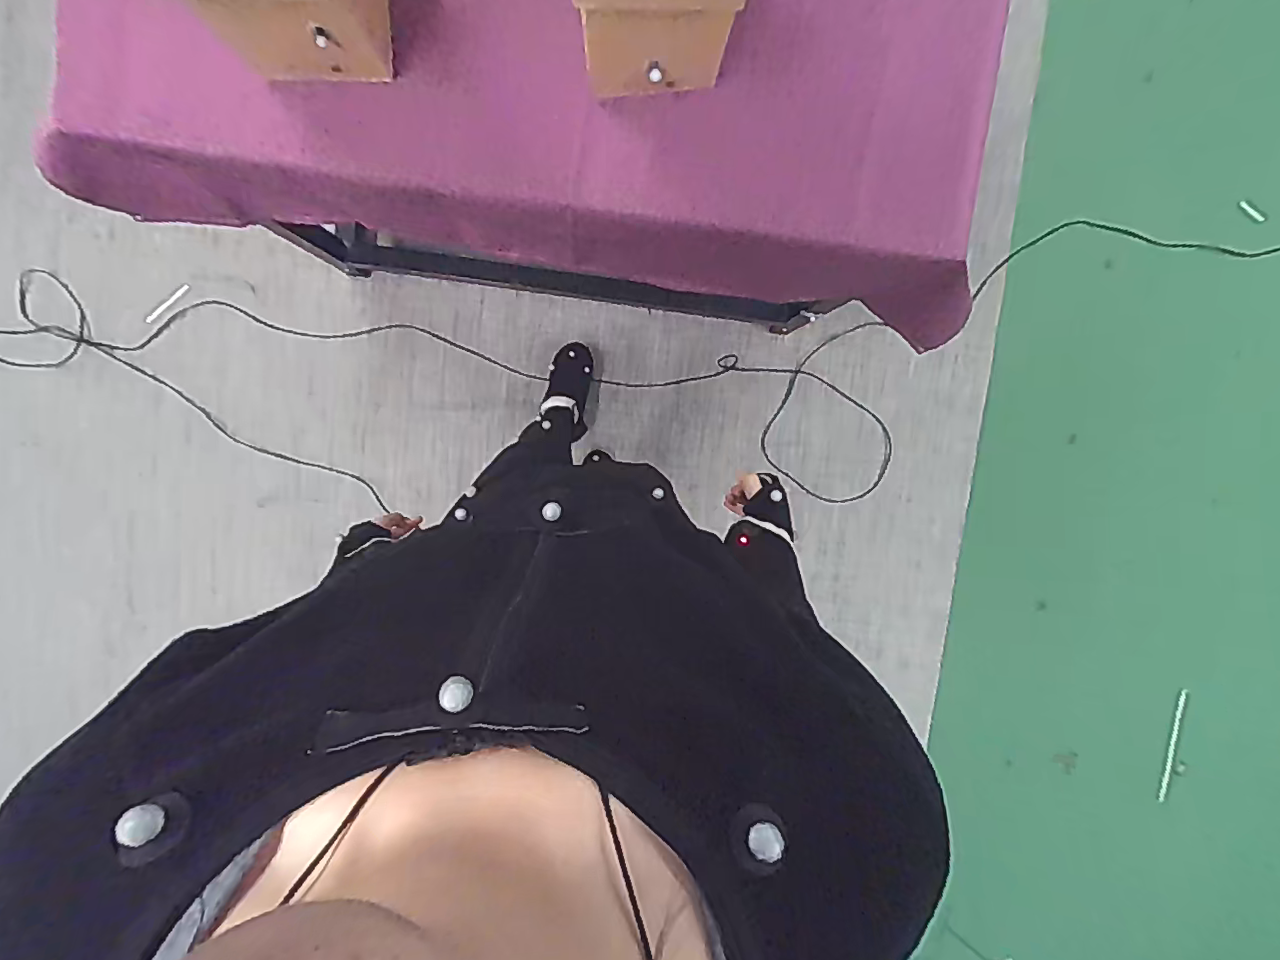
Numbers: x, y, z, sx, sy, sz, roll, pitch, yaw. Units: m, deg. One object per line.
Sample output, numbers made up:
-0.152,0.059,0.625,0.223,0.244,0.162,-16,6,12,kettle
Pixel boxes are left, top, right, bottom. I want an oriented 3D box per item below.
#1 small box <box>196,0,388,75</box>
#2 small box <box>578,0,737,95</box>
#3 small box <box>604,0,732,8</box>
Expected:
-0.395,-0.593,0.601,0.168,0.176,0.179,0,95,-4,small box
0.010,-0.589,0.622,0.168,0.176,0.179,-6,96,-2,small box
0.021,-0.552,0.461,0.179,0.176,0.168,-1,96,-3,small box
